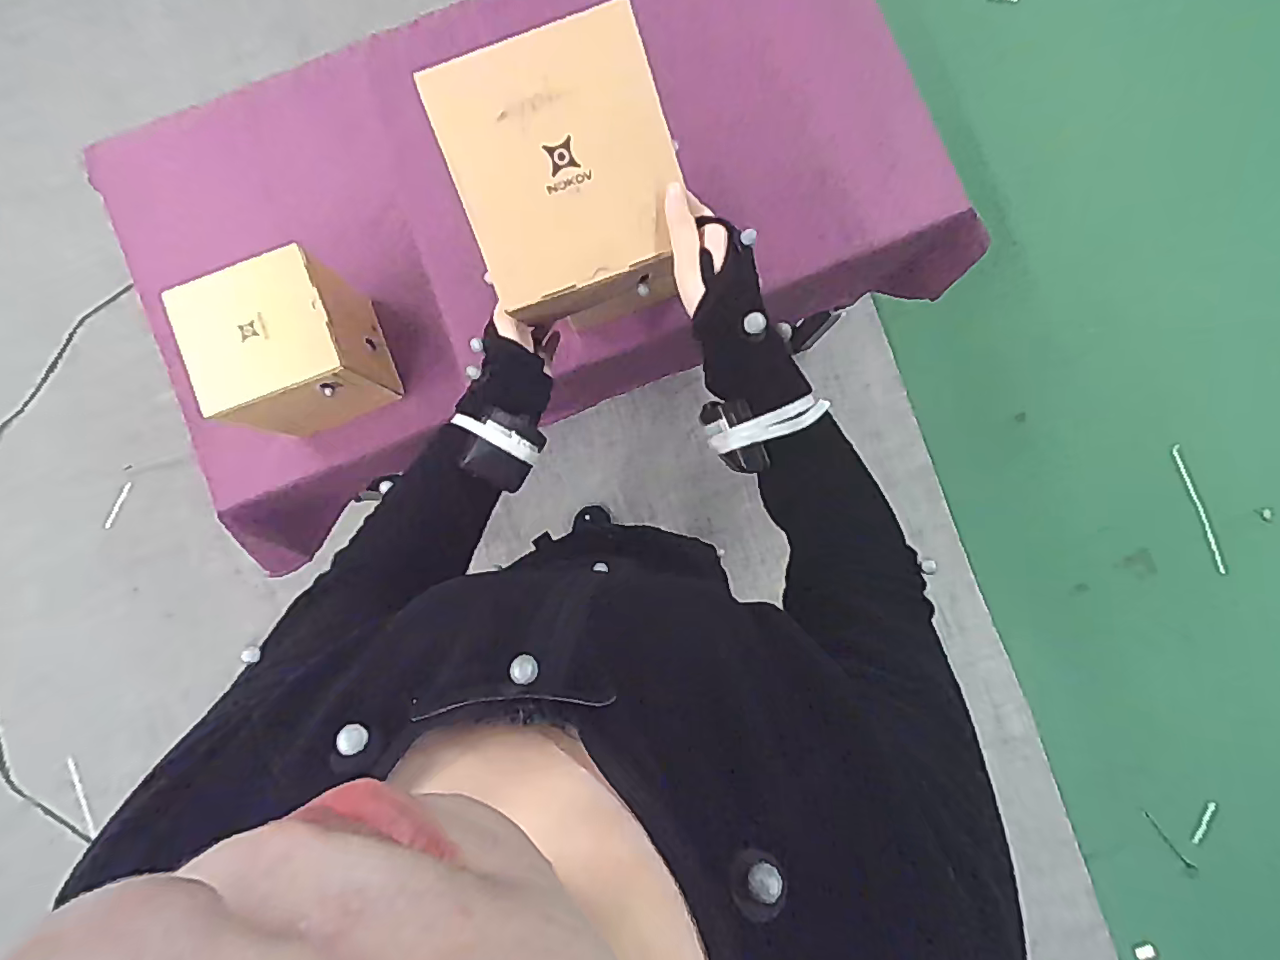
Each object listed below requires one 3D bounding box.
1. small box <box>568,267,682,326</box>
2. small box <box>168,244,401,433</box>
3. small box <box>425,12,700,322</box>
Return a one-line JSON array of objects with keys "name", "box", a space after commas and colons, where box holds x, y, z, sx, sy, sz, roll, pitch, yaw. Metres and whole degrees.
[{"name": "small box", "box": [-0.045, -0.330, 0.731, 0.179, 0.176, 0.168, -20, 88, -1]}, {"name": "small box", "box": [-0.457, -0.174, 0.723, 0.179, 0.176, 0.168, -21, 87, -2]}, {"name": "small box", "box": [-0.058, -0.249, 0.484, 0.168, 0.176, 0.179, -18, 102, 0]}]
